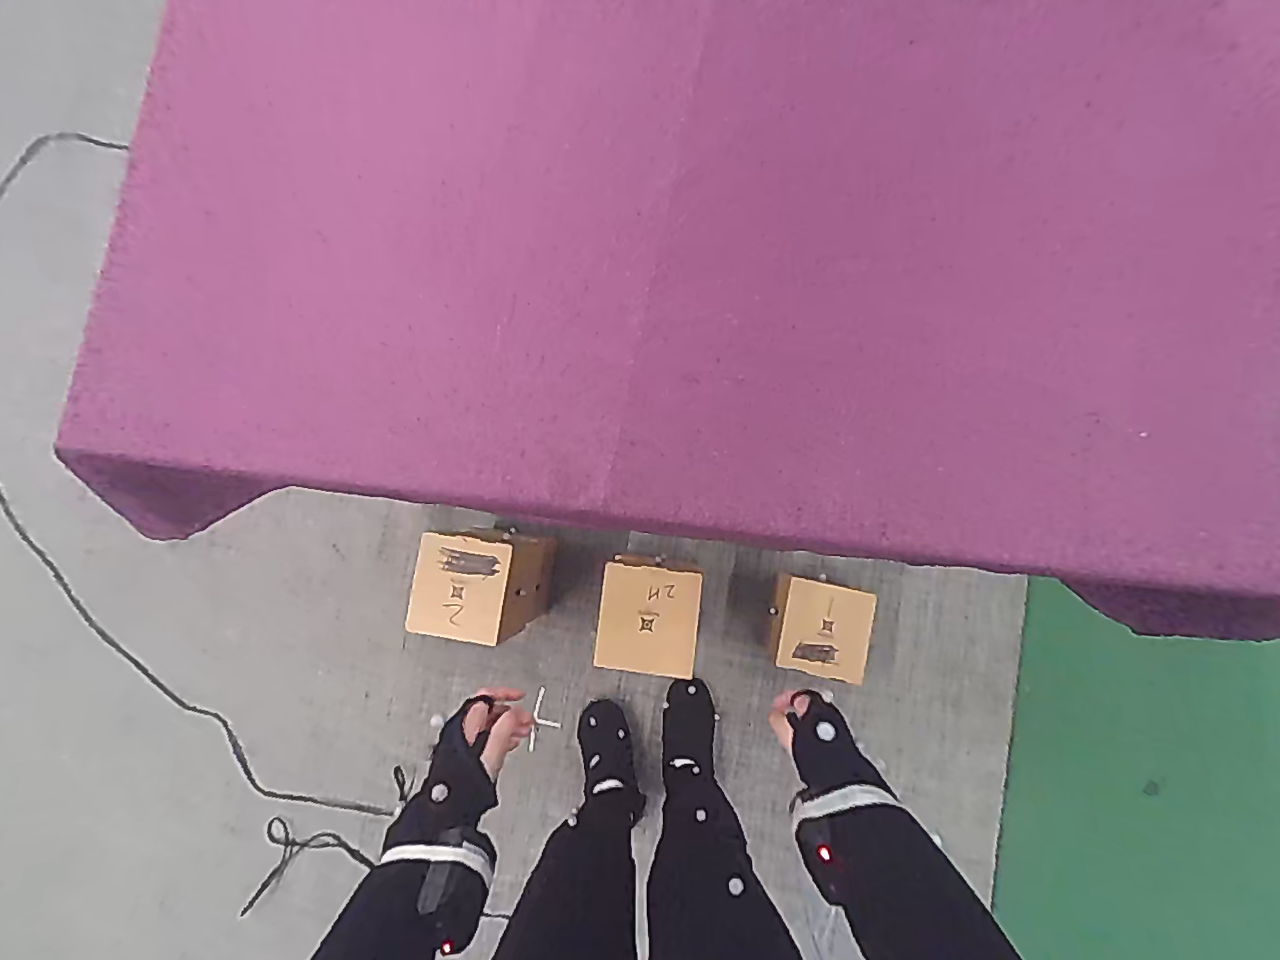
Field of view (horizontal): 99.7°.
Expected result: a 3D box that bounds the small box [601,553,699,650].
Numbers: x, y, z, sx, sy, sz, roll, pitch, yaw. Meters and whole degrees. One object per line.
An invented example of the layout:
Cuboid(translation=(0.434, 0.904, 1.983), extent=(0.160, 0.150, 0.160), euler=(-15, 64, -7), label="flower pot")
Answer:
Cuboid(translation=(0.027, 0.249, 1.146), extent=(0.179, 0.176, 0.168), euler=(8, 84, 6), label="small box")
